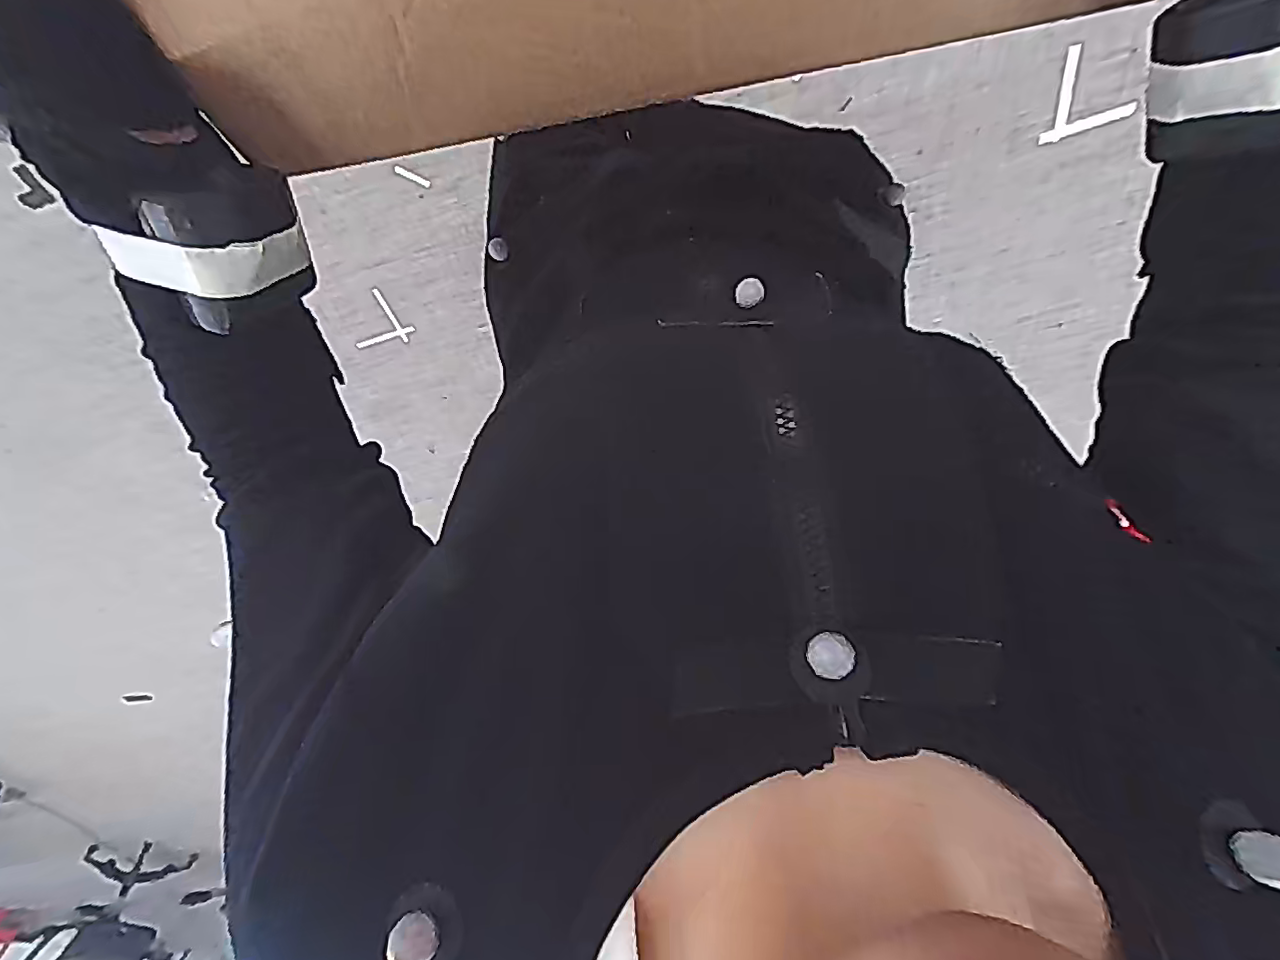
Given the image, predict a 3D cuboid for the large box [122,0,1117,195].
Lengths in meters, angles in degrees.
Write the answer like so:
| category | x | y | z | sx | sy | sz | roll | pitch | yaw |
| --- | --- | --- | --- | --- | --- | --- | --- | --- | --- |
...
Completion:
| category | x | y | z | sx | sy | sz | roll | pitch | yaw |
| --- | --- | --- | --- | --- | --- | --- | --- | --- | --- |
| large box | -0.018 | -0.369 | 0.176 | 0.408 | 0.320 | 0.320 | -8 | 157 | 5 |
